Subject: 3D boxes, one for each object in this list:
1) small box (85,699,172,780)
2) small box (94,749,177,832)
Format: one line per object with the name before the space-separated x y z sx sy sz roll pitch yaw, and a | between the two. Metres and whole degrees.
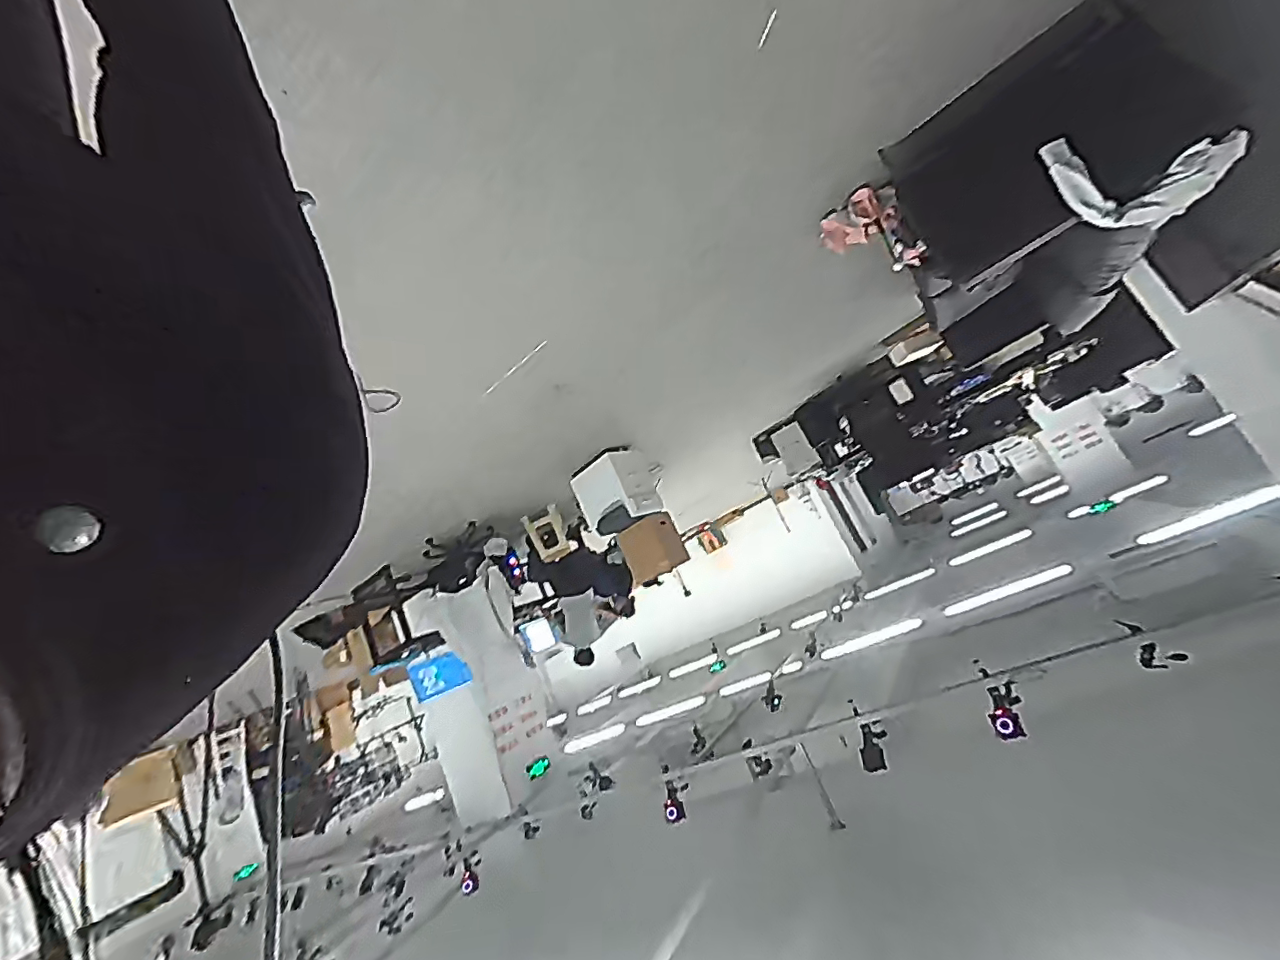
small box | -1.687 0.849 1.780 0.168 0.176 0.179 -34 164 33
small box | -1.617 0.988 1.730 0.179 0.176 0.168 -35 163 37
